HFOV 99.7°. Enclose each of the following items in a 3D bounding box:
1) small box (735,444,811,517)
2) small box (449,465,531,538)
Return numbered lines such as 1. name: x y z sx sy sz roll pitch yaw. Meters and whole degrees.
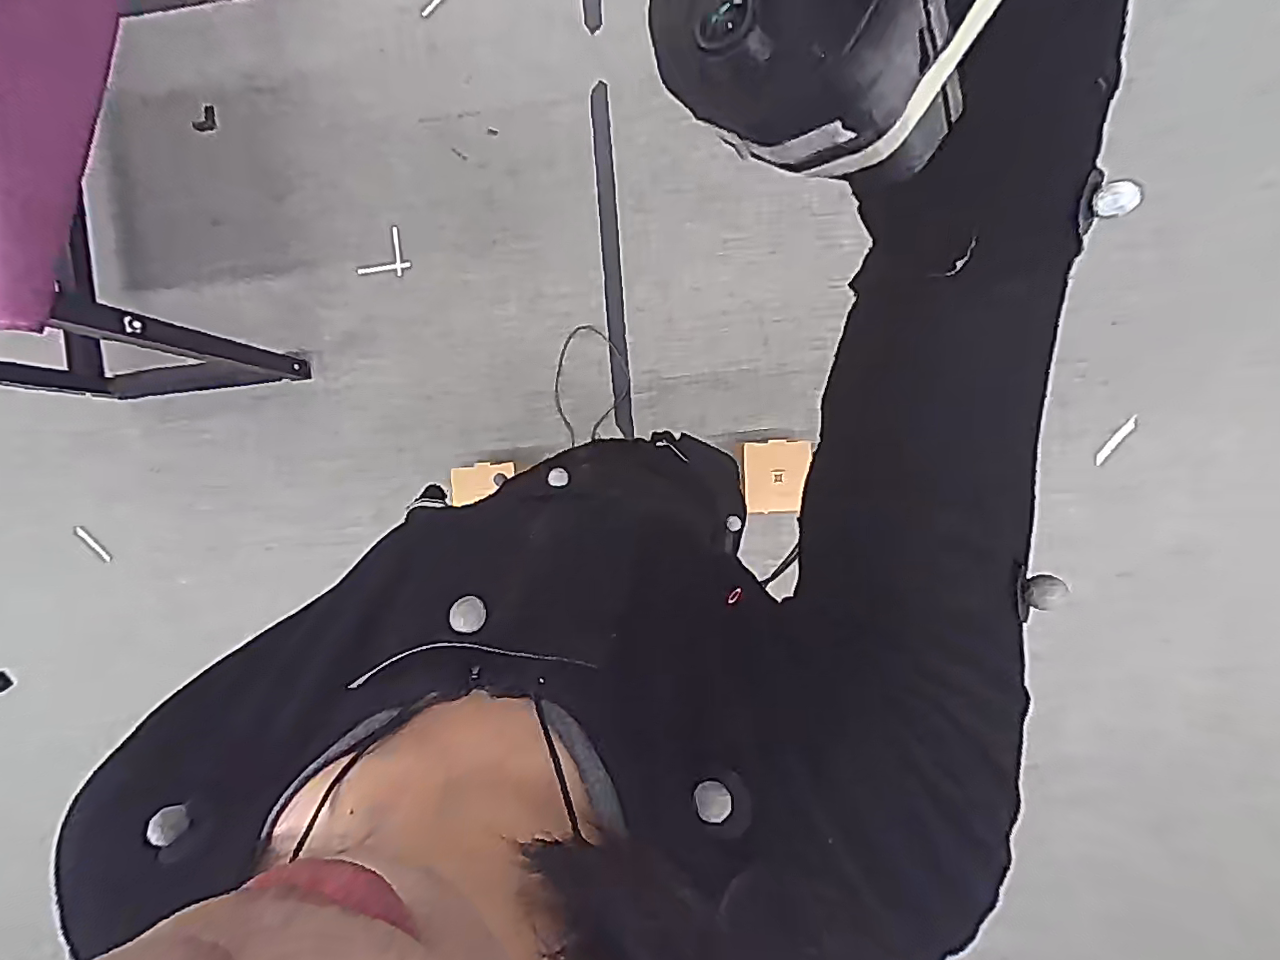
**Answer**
1. small box: 0.340 -0.001 1.406 0.168 0.176 0.179 -2 92 4
2. small box: -0.392 0.057 1.435 0.168 0.176 0.179 -5 89 2
